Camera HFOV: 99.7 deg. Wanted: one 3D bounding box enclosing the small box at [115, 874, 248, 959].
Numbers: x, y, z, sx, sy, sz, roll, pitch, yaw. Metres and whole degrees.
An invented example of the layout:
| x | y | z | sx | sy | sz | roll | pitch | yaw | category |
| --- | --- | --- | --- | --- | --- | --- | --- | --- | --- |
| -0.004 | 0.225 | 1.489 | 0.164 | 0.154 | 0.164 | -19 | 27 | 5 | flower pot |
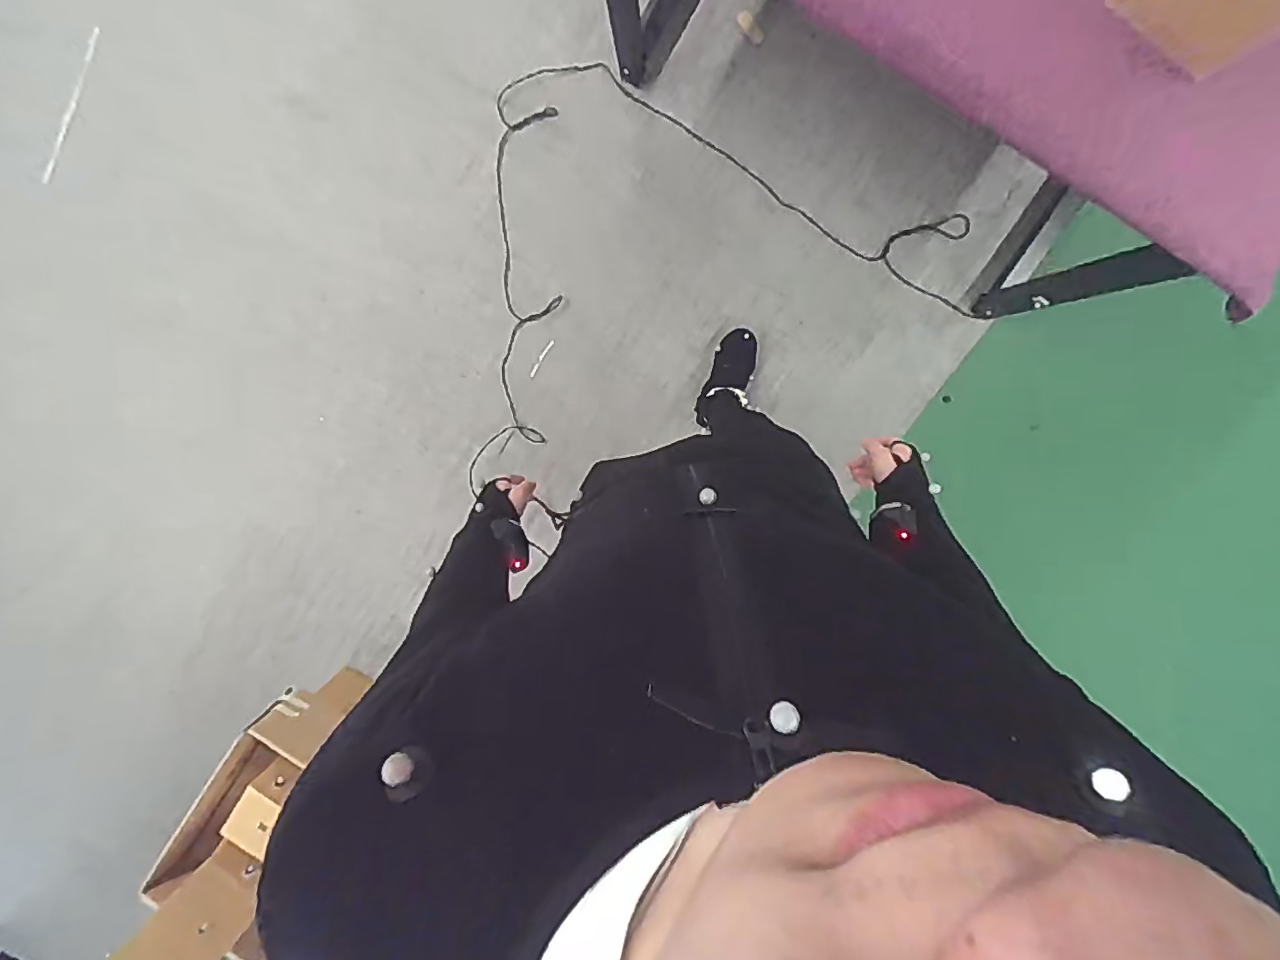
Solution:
| x | y | z | sx | sy | sz | roll | pitch | yaw | category |
| --- | --- | --- | --- | --- | --- | --- | --- | --- | --- |
| -1.031 | 1.032 | 1.200 | 0.179 | 0.176 | 0.168 | 38 | 99 | -5 | small box |

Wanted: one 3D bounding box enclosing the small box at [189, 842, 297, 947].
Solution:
| x | y | z | sx | sy | sz | roll | pitch | yaw | category |
| --- | --- | --- | --- | --- | --- | --- | --- | --- | --- |
| -1.019 | 1.002 | 1.361 | 0.179 | 0.176 | 0.168 | 39 | 100 | -3 | small box |

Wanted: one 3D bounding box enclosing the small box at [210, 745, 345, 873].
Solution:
| x | y | z | sx | sy | sz | roll | pitch | yaw | category |
| --- | --- | --- | --- | --- | --- | --- | --- | --- | --- |
| -0.865 | 0.782 | 1.306 | 0.179 | 0.176 | 0.168 | 35 | 102 | -4 | small box |
